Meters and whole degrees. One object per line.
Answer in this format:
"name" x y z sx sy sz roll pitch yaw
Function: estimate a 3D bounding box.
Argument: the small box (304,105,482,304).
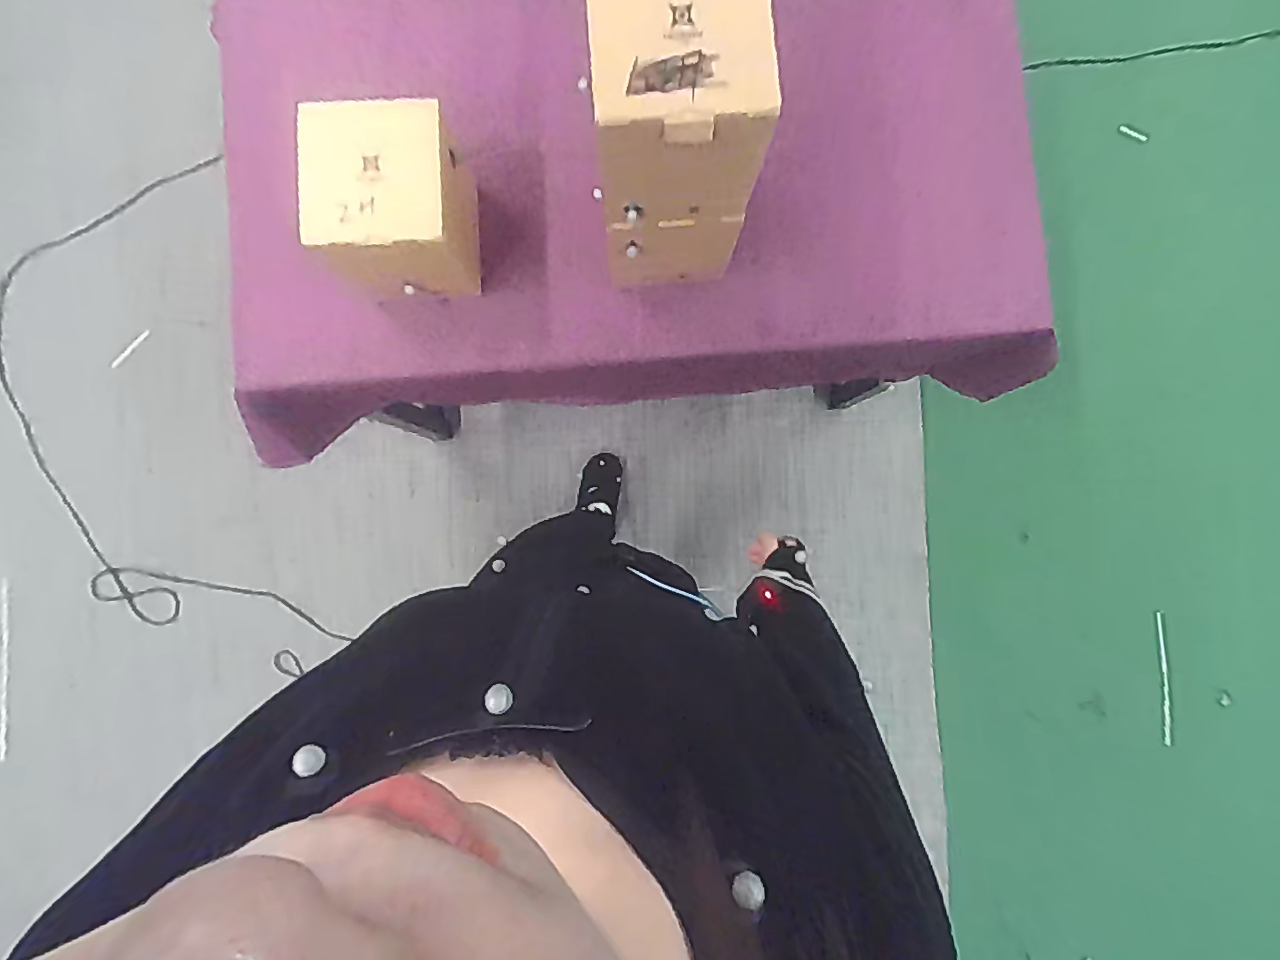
"small box" -0.312 -0.351 0.714 0.168 0.176 0.179 -3 86 -1

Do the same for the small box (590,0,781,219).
"small box" 0.038 -0.392 0.560 0.168 0.176 0.179 -4 85 -2
